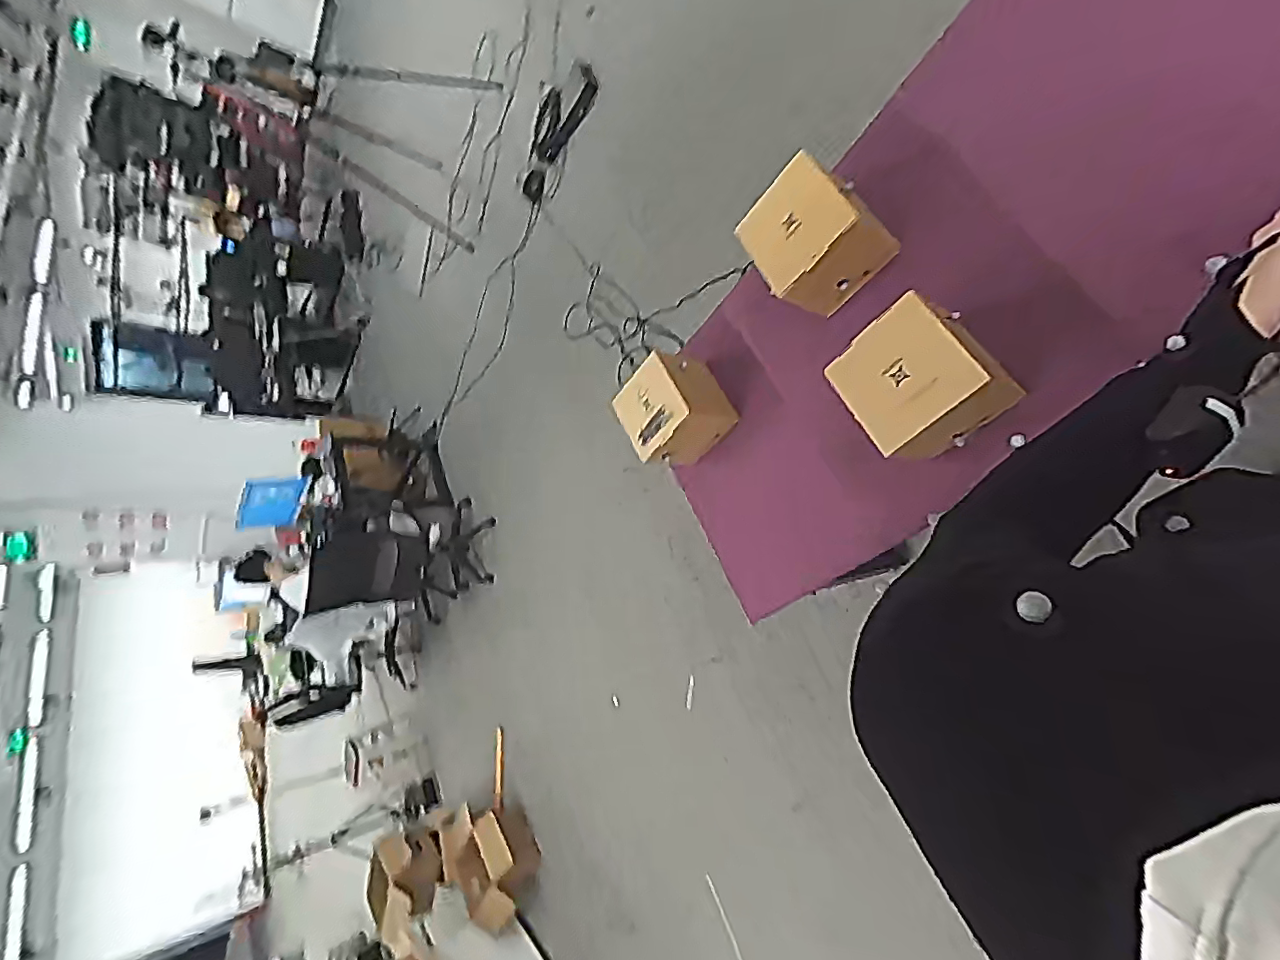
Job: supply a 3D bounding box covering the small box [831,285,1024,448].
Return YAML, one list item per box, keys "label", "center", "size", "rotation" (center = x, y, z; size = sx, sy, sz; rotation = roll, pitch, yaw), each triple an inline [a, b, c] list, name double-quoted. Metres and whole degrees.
- label: "small box"
  center: [0.441, -0.163, 0.836]
  size: [0.168, 0.176, 0.179]
  rotation: [-47, 56, 38]

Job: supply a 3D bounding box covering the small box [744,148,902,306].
- label: "small box"
  center: [0.327, -0.439, 0.969]
  size: [0.168, 0.176, 0.179]
  rotation: [-44, 60, 38]
